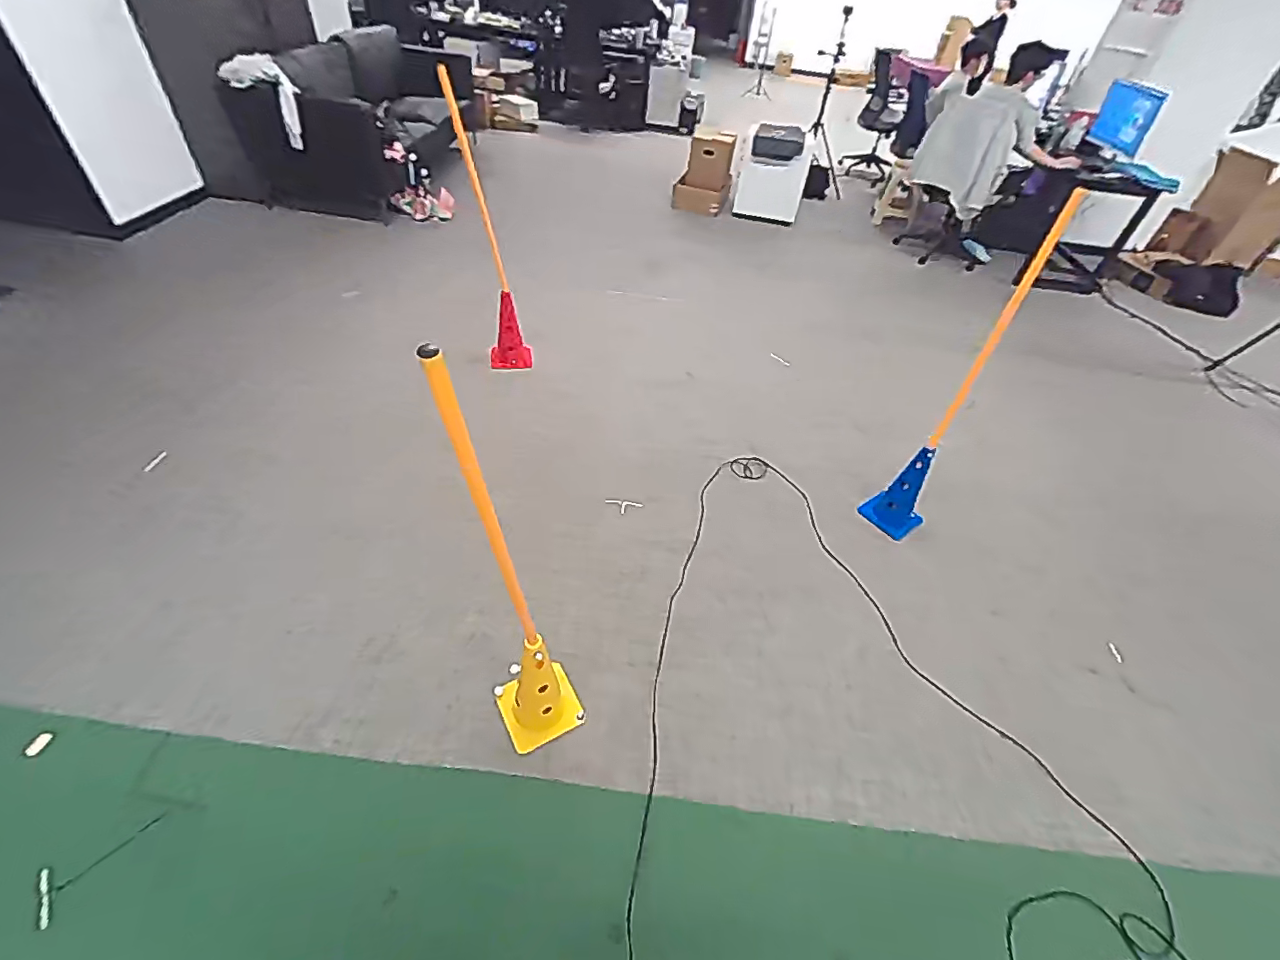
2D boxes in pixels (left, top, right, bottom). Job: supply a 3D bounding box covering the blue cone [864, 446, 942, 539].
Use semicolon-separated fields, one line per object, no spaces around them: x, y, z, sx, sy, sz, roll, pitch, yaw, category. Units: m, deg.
1.023;0.021;2.043;0.193;0.380;0.192;-25;52;-32;blue cone
